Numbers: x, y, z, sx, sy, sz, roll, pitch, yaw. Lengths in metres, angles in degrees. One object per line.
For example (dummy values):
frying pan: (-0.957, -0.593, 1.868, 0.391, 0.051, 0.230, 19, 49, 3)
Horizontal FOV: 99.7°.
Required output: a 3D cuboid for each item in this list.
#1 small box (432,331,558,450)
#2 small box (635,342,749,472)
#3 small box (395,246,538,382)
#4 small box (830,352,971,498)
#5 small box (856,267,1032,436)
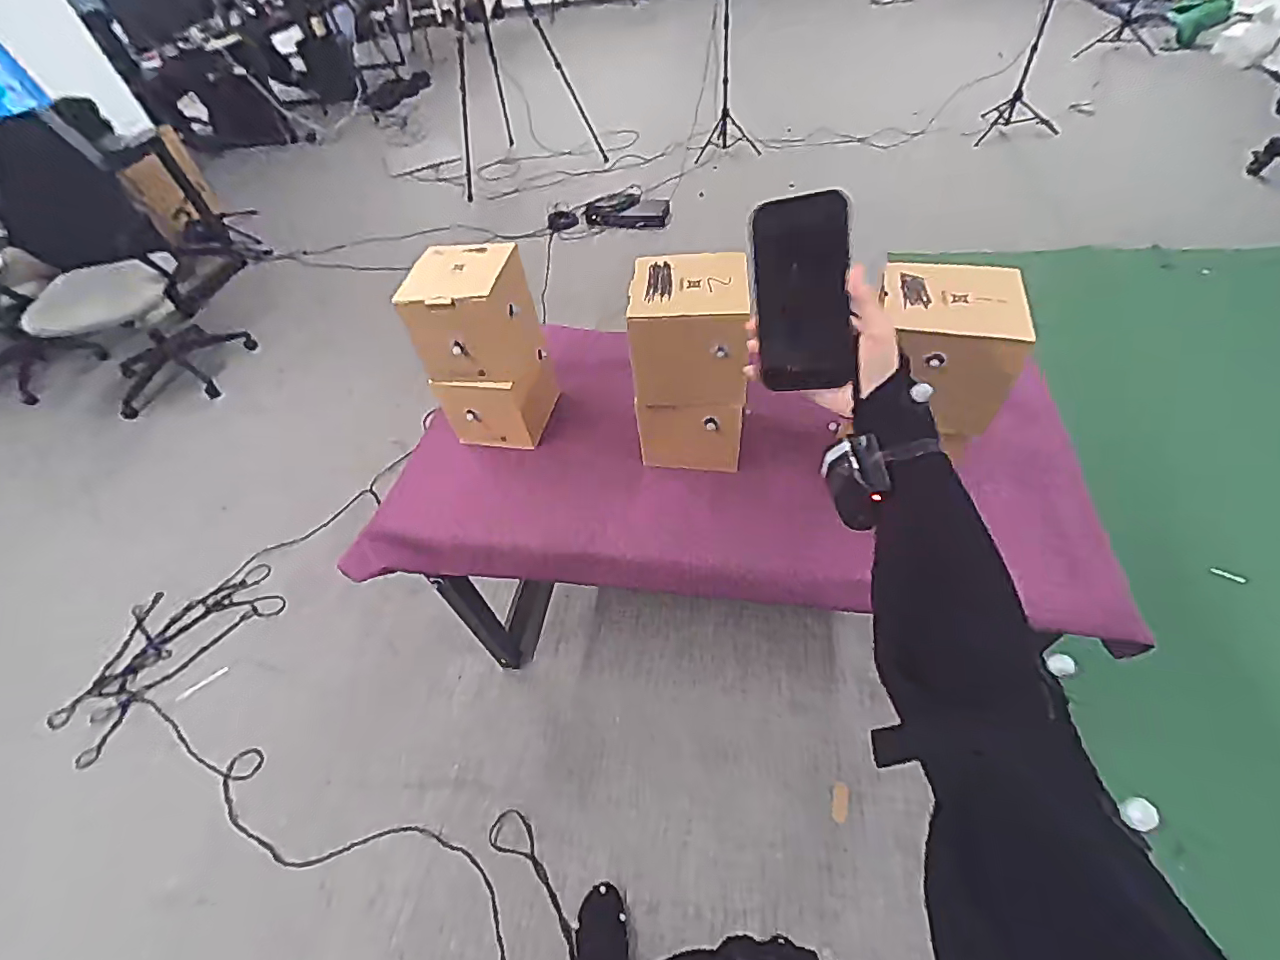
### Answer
small box: (-0.276, -0.179, 1.080, 0.168, 0.176, 0.179, 6, 51, 12)
small box: (0.100, -0.130, 0.985, 0.179, 0.176, 0.168, 5, 51, 12)
small box: (-0.292, -0.290, 0.960, 0.168, 0.176, 0.179, 2, 51, 9)
small box: (0.429, -0.089, 0.908, 0.179, 0.176, 0.168, 10, 52, 17)
small box: (0.417, -0.182, 0.772, 0.179, 0.176, 0.168, 10, 52, 15)
